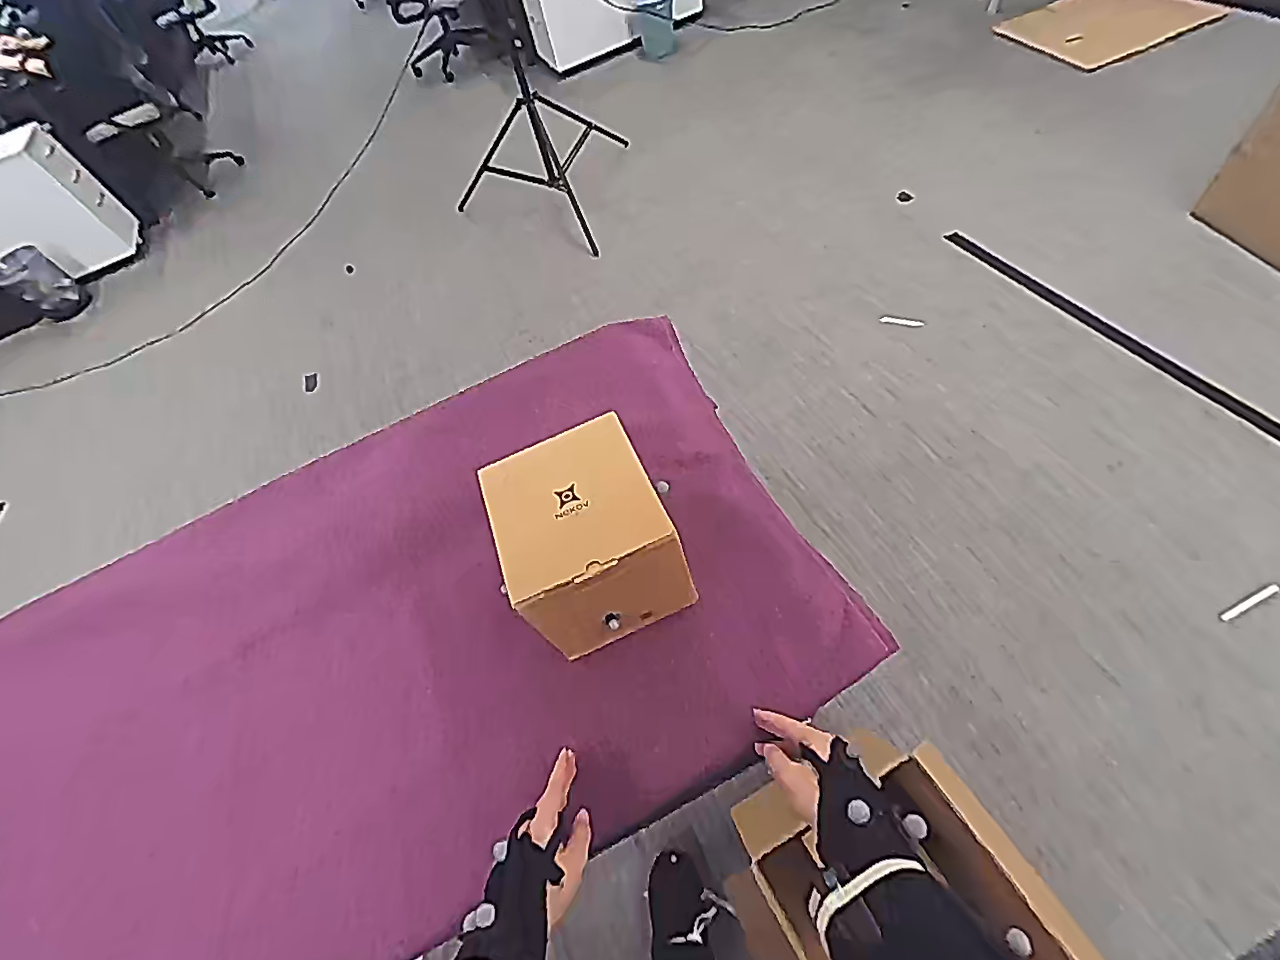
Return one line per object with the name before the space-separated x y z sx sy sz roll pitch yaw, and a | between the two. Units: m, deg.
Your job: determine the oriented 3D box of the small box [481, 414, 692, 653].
small box | -0.055 0.064 0.610 0.168 0.176 0.179 -25 54 -3
